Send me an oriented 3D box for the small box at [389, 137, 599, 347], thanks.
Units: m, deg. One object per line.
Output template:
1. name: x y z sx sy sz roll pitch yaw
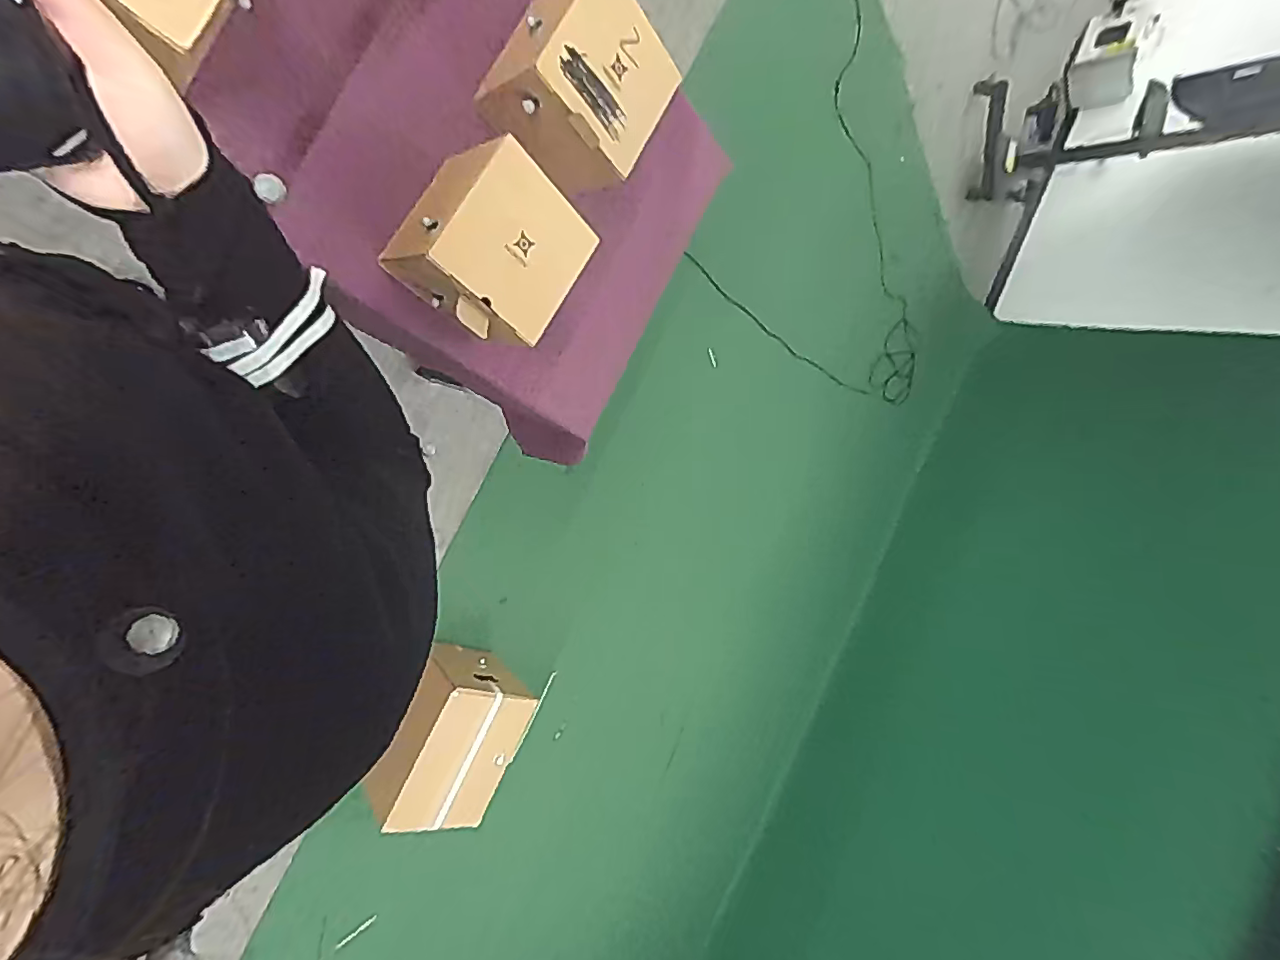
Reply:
1. small box: -0.193 -0.299 0.704 0.168 0.176 0.179 37 79 -43

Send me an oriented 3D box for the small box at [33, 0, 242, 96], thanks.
1. small box: -0.424 -0.459 0.435 0.168 0.176 0.179 31 83 -45
